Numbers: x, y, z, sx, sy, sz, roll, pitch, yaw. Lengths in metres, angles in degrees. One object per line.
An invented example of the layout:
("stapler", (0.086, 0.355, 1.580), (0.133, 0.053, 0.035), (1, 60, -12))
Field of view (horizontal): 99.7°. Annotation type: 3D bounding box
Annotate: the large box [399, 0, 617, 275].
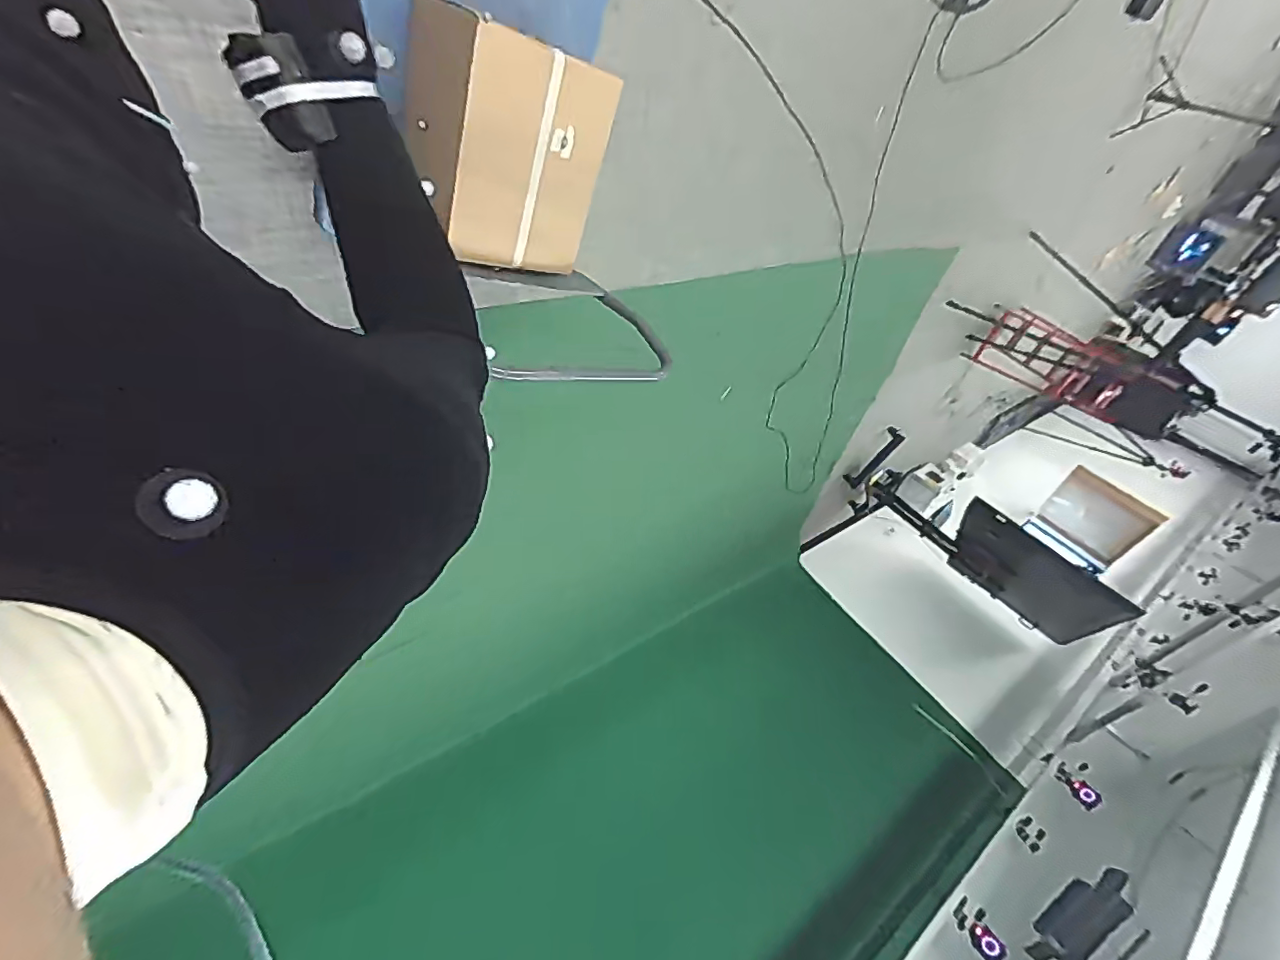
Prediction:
("large box", (-0.306, -0.712, 1.168), (0.320, 0.320, 0.408), (-10, 135, -41))
